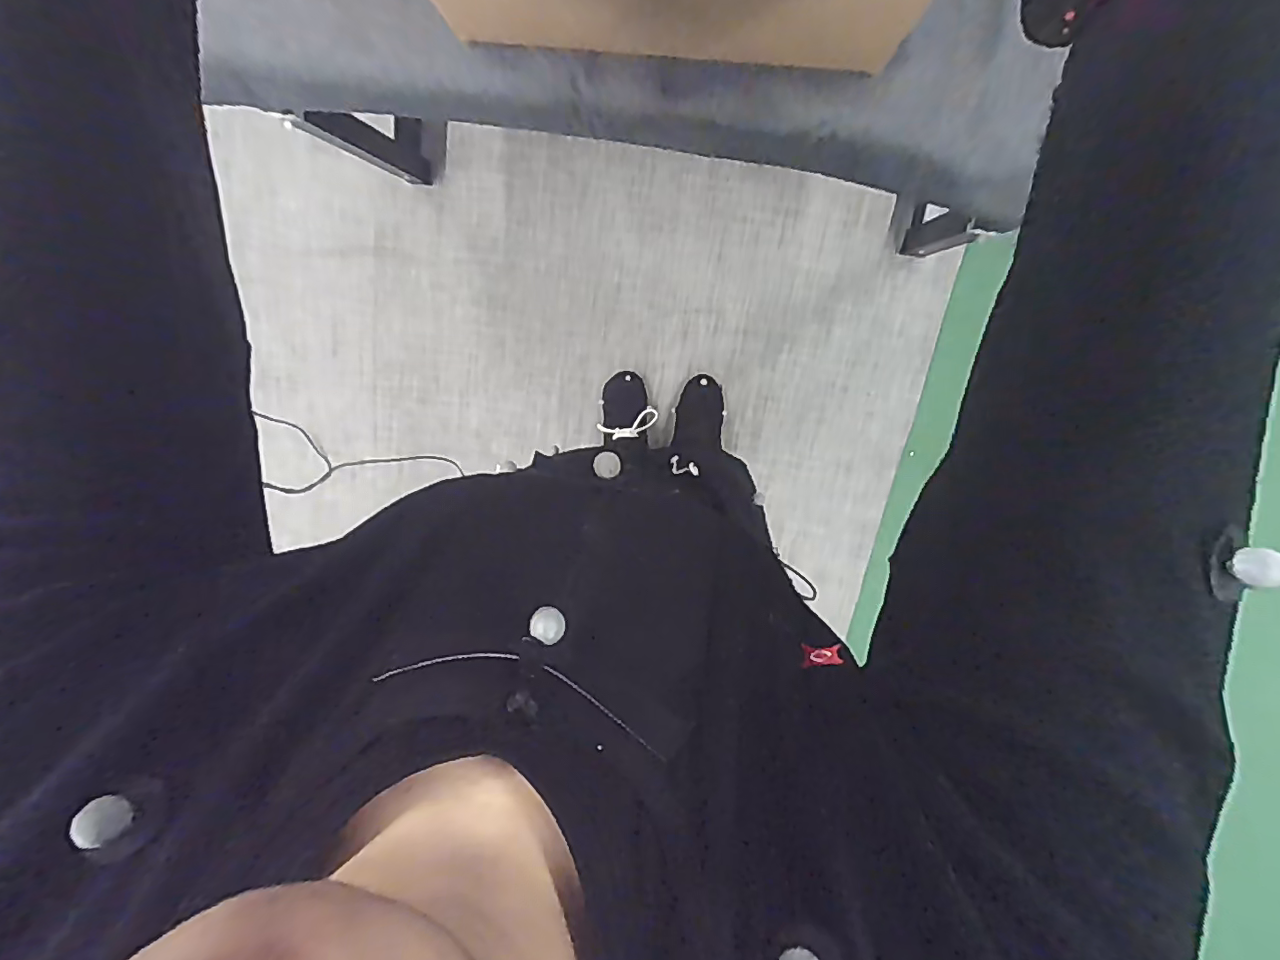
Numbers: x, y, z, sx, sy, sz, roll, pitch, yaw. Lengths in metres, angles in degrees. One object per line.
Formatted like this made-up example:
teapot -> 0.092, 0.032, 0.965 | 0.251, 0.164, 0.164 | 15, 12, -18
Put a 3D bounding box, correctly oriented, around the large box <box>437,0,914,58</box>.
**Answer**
large box -> 0.024, -0.516, 0.332 | 0.408, 0.320, 0.320 | 6, 106, 3
